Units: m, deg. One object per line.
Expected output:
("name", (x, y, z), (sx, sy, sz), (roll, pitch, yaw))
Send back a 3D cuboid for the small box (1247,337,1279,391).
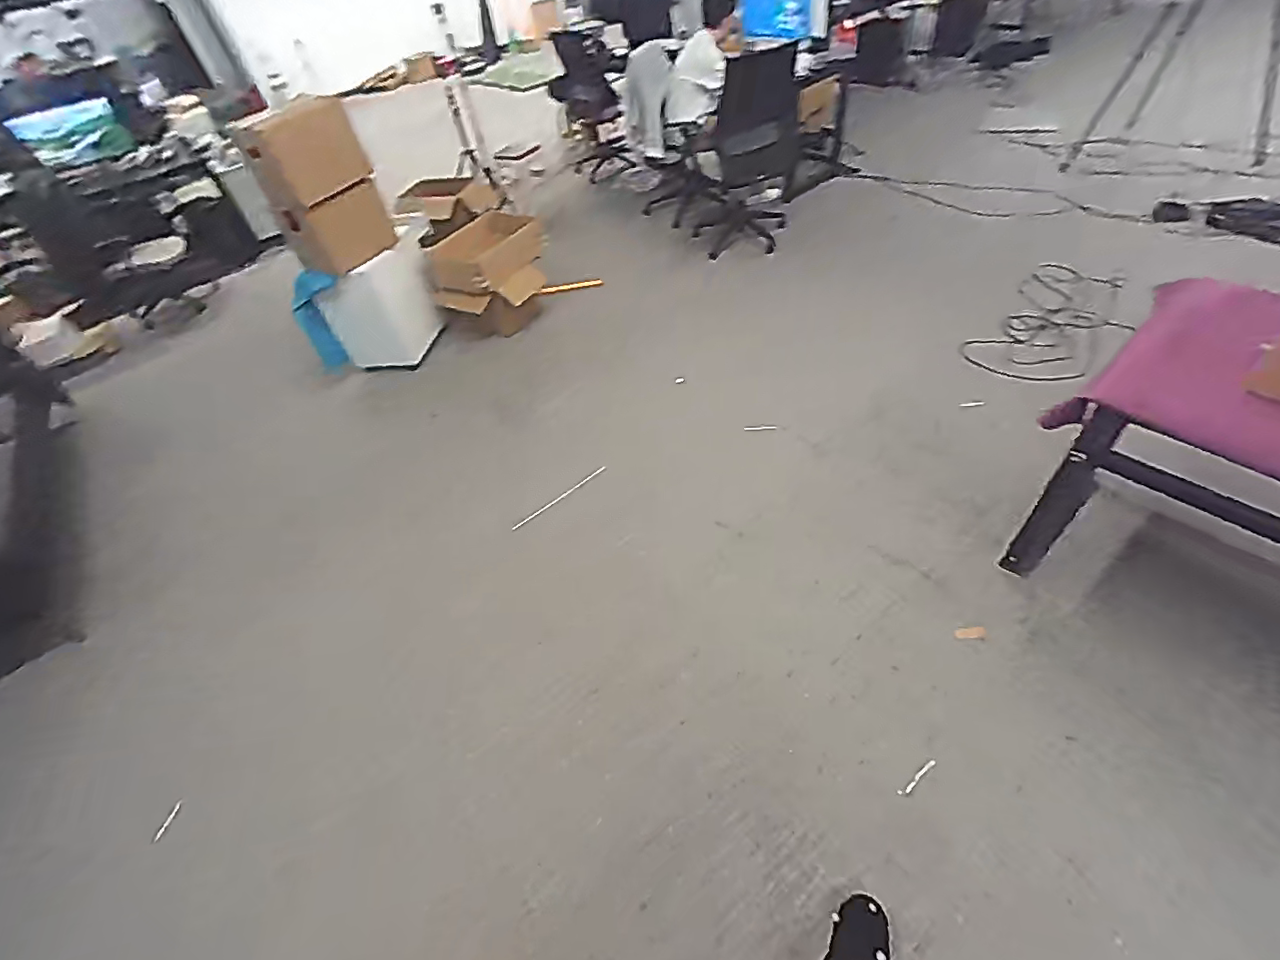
("small box", (1.417, -0.267, 1.090), (0.168, 0.176, 0.179), (-35, 50, -20))
